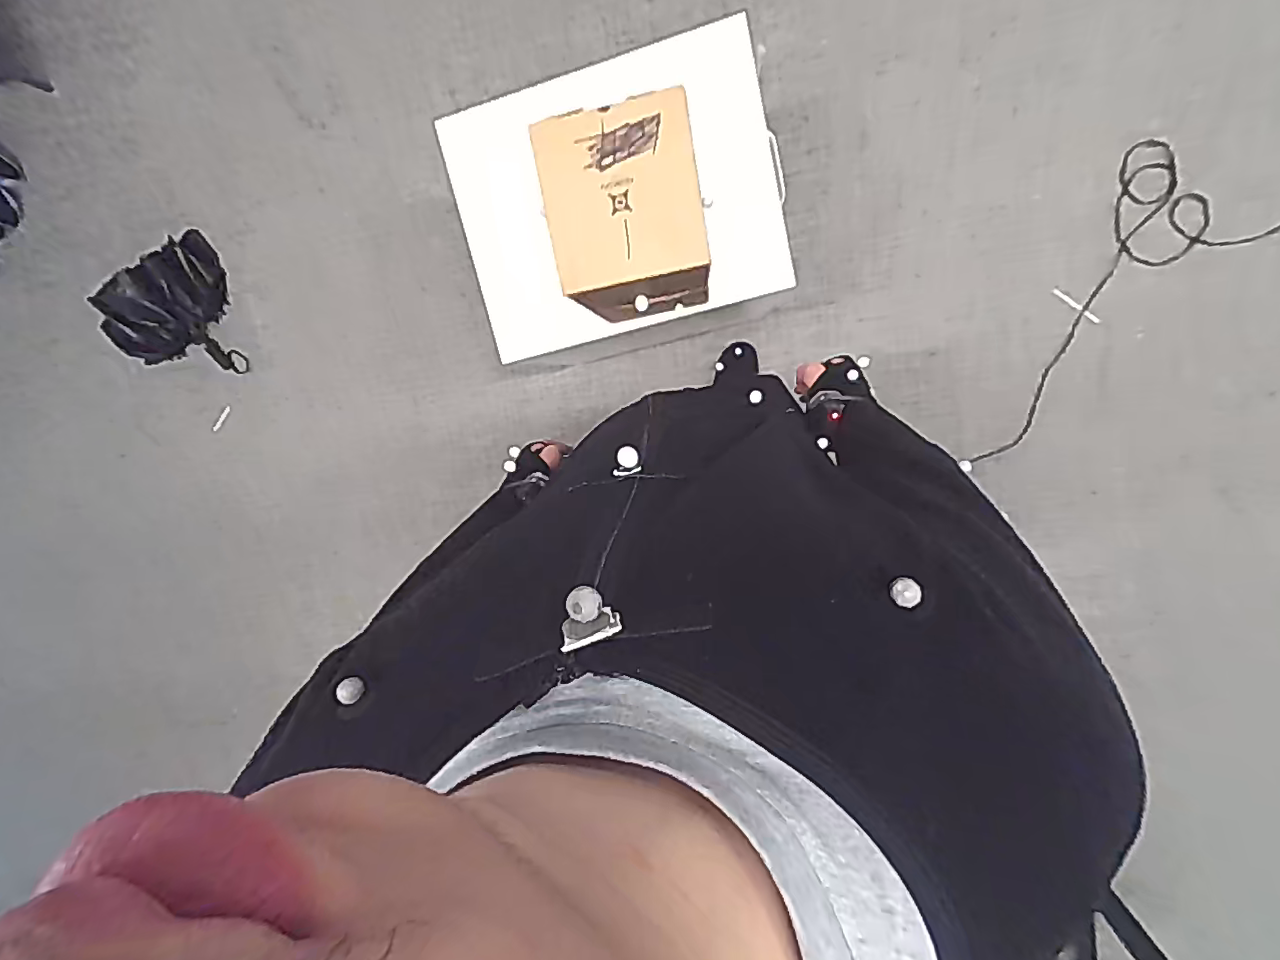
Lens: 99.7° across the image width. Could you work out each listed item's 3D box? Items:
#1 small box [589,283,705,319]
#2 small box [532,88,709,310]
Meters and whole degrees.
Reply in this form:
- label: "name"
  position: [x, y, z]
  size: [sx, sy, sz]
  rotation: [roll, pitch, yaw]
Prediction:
- label: "small box"
  position: [0.004, -0.343, 0.804]
  size: [0.168, 0.176, 0.179]
  rotation: [-10, 99, 7]
- label: "small box"
  position: [-0.013, -0.313, 0.643]
  size: [0.168, 0.176, 0.179]
  rotation: [-9, 100, 8]
